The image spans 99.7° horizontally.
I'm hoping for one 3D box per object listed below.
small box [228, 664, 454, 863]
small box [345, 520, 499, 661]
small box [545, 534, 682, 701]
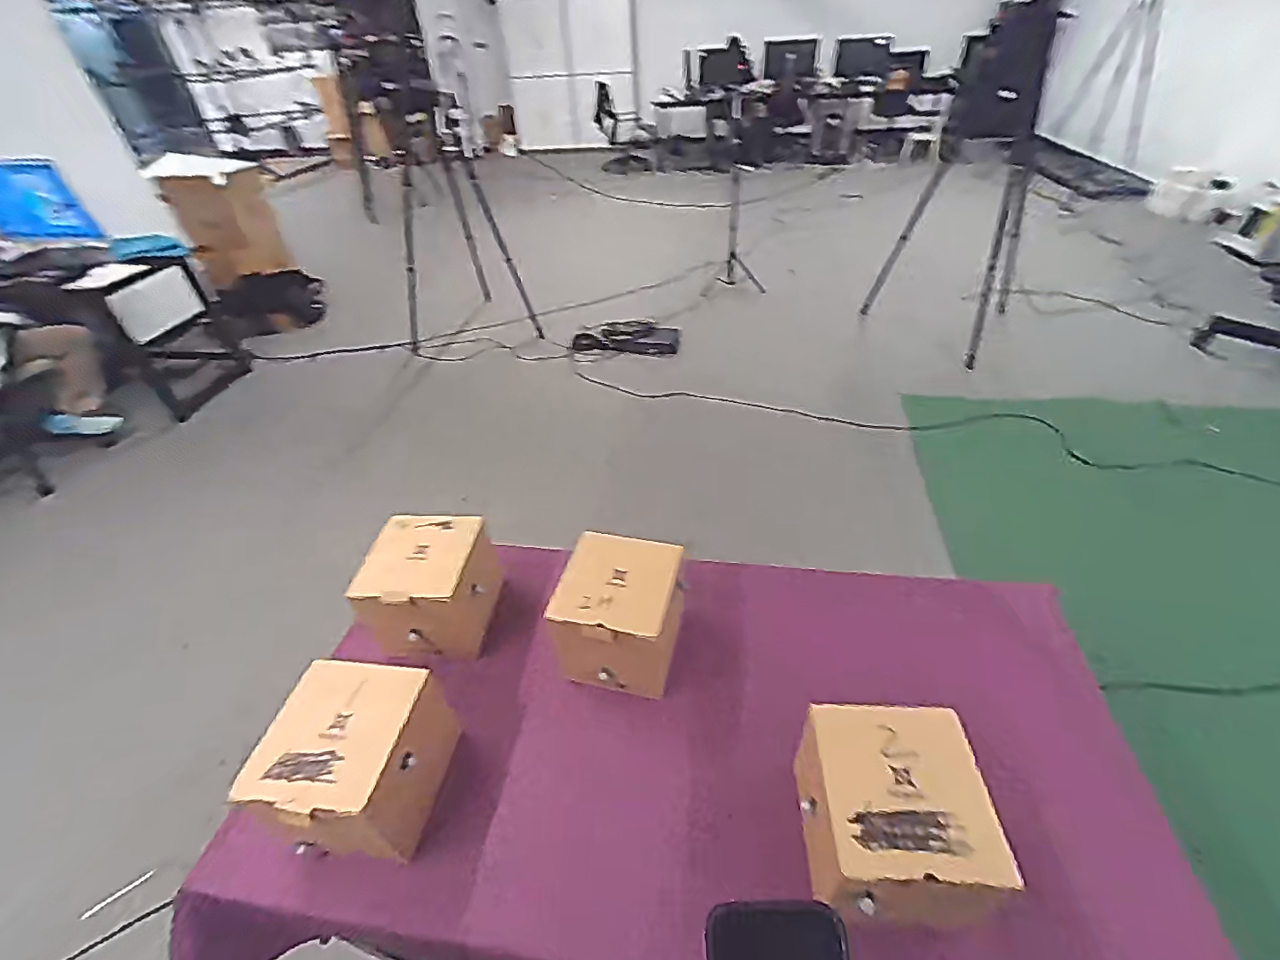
[{"bbox_3d":[-0.365,0.368,0.704,0.168,0.176,0.179,2,39,7],"label":"small box"},{"bbox_3d":[-0.352,0.188,0.917,0.168,0.176,0.179,0,41,5],"label":"small box"},{"bbox_3d":[-0.032,0.214,0.854,0.168,0.176,0.179,7,42,14],"label":"small box"}]
